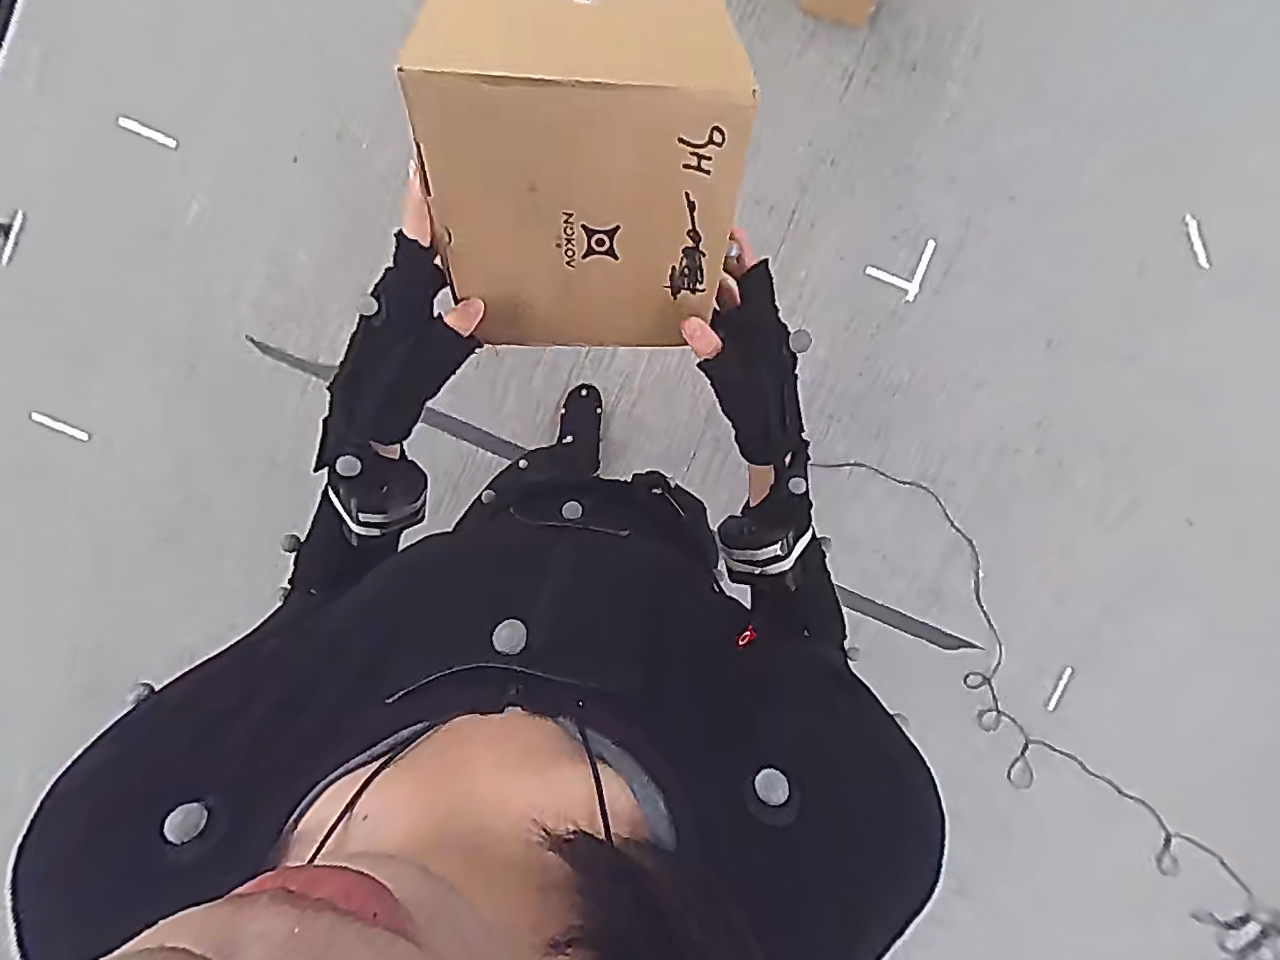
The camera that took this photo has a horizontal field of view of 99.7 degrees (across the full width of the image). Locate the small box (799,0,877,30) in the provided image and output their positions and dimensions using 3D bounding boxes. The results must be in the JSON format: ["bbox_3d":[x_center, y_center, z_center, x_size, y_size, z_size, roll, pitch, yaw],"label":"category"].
[{"bbox_3d":[0.527,-1.287,1.357,0.179,0.176,0.168,15,93,-2],"label":"small box"}]

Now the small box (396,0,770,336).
[{"bbox_3d":[-0.034,-0.219,0.359,0.179,0.168,0.176,1,55,-6],"label":"small box"}]
